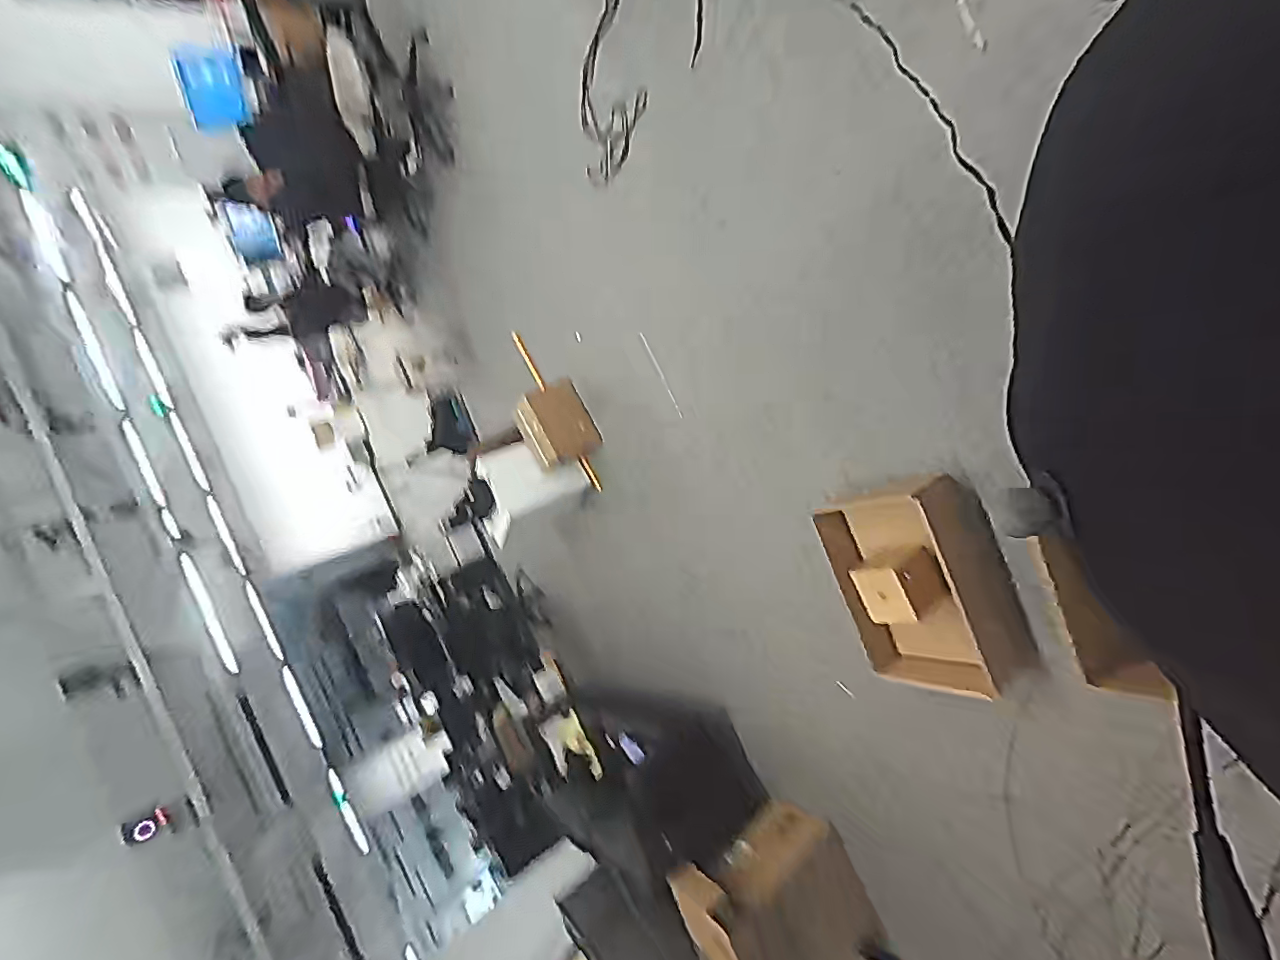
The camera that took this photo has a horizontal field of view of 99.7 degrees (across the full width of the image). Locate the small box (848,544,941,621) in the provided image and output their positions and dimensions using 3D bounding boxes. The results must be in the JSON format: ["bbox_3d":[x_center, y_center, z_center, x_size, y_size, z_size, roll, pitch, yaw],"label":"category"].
[{"bbox_3d":[0.792,0.318,1.679,0.168,0.176,0.179,-27,87,60],"label":"small box"}]
